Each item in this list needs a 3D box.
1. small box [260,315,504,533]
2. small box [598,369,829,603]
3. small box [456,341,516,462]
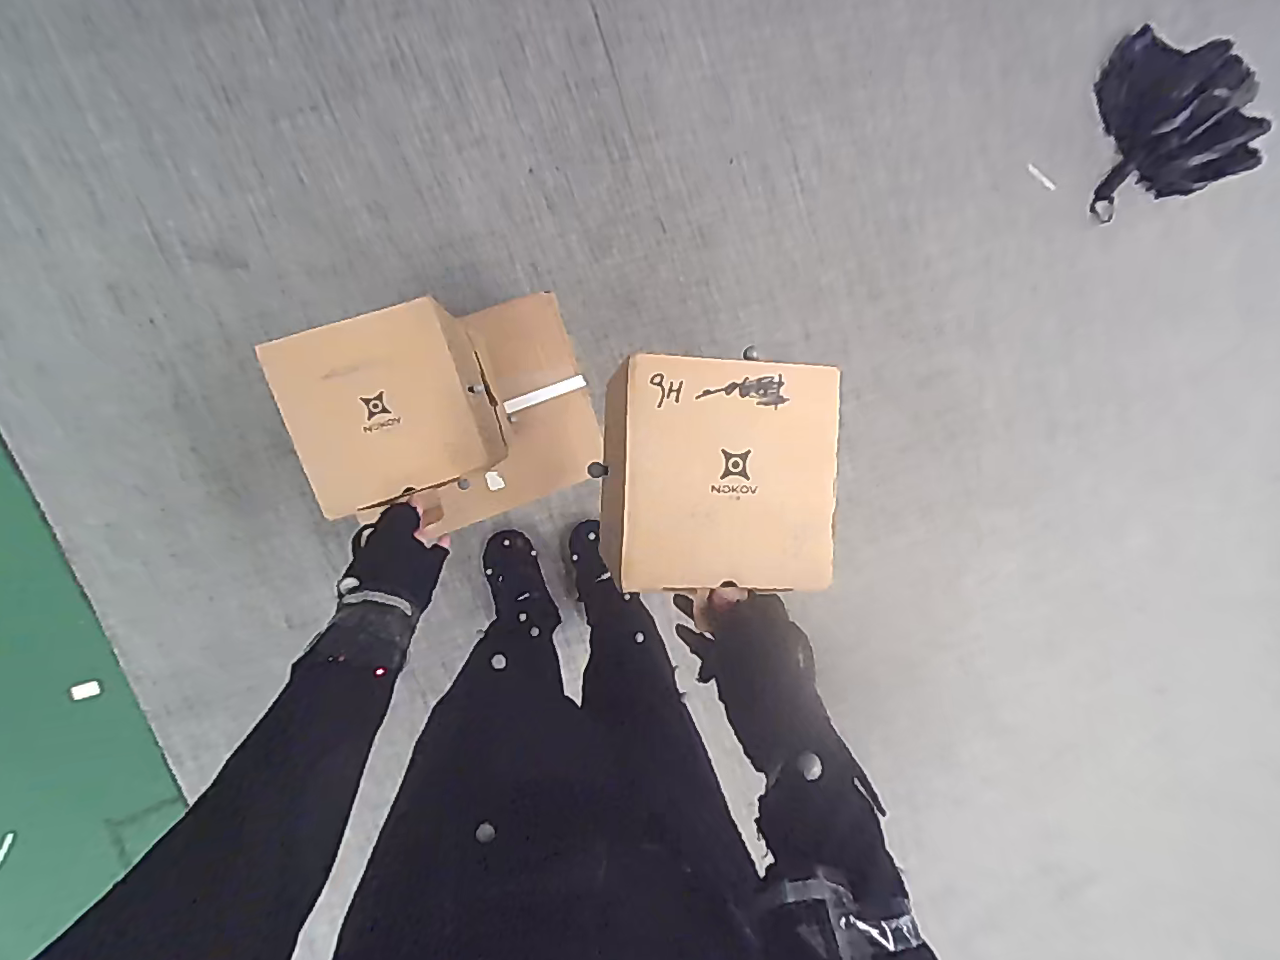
[{"bbox_3d":[-0.262,-0.062,0.601,0.168,0.176,0.179,-20,98,-5],"label":"small box"},{"bbox_3d":[0.051,0.002,0.490,0.168,0.176,0.179,1,93,-9],"label":"small box"},{"bbox_3d":[-0.287,-0.089,0.767,0.179,0.176,0.168,-21,103,-7],"label":"small box"}]
